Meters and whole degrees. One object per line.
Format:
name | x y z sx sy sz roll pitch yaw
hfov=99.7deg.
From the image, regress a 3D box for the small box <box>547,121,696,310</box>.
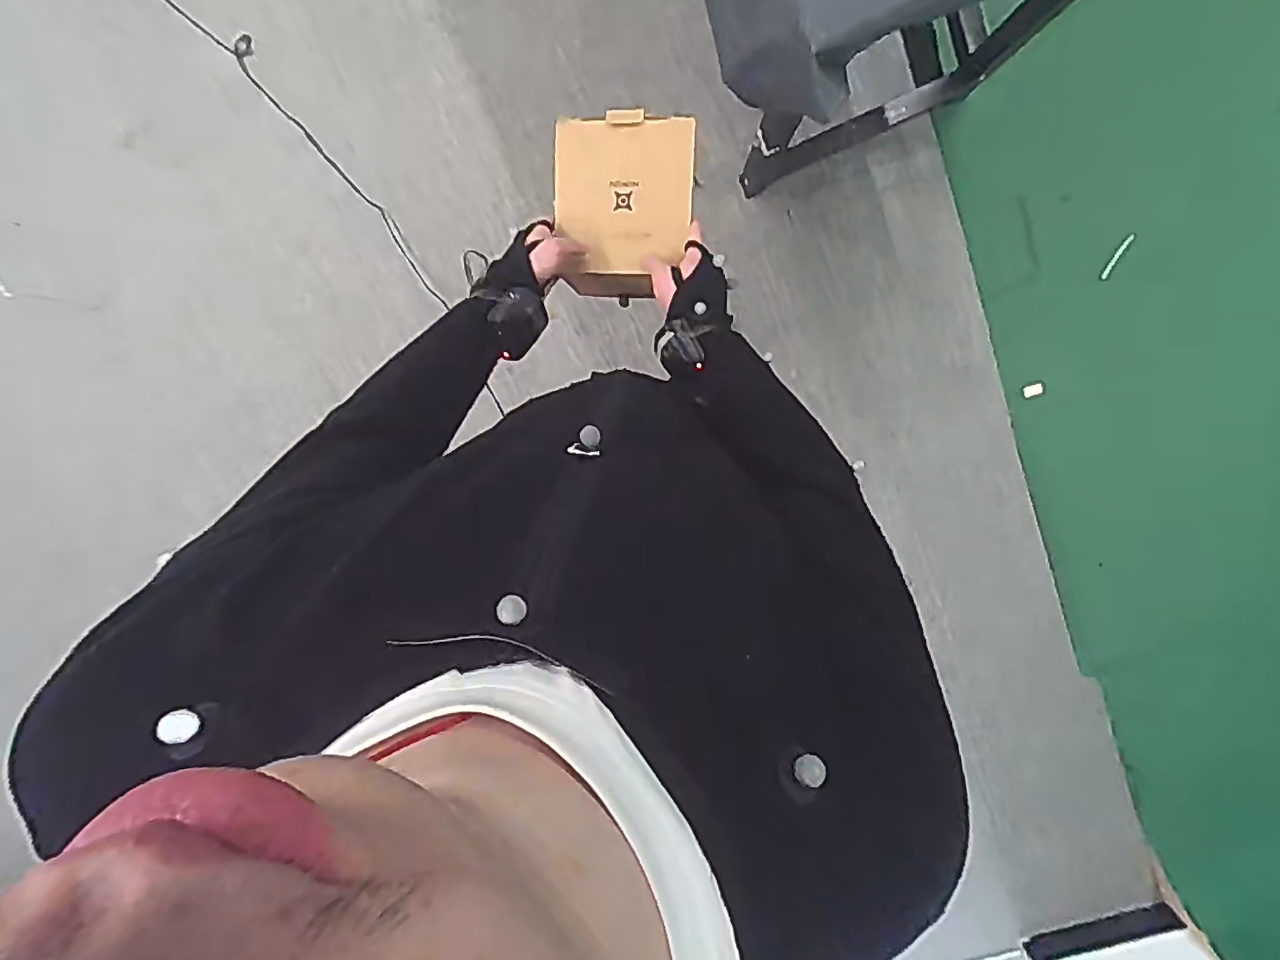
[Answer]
small box | -0.017 -0.332 0.707 0.168 0.176 0.179 5 98 5
